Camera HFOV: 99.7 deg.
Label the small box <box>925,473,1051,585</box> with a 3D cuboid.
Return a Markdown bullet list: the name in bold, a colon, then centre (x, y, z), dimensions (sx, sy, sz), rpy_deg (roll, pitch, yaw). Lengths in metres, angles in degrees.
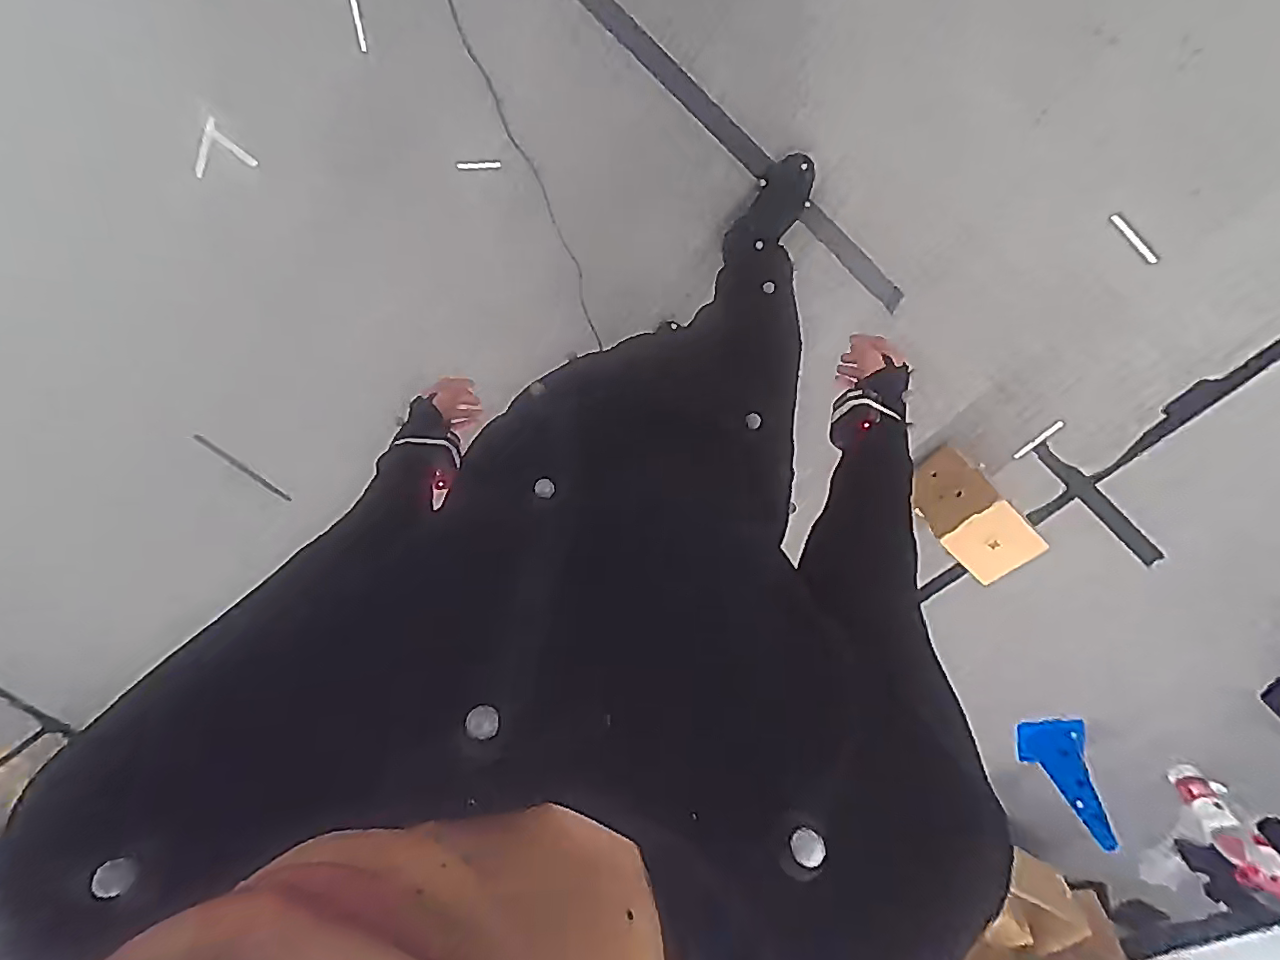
- **small box**: centre (0.834, 0.114, 1.313), dimensions (0.179, 0.176, 0.168), rpy_deg (41, 117, -9)

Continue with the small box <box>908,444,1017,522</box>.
- **small box**: centre (0.854, 0.037, 1.456), dimensions (0.168, 0.176, 0.179), rpy_deg (37, 117, -8)
